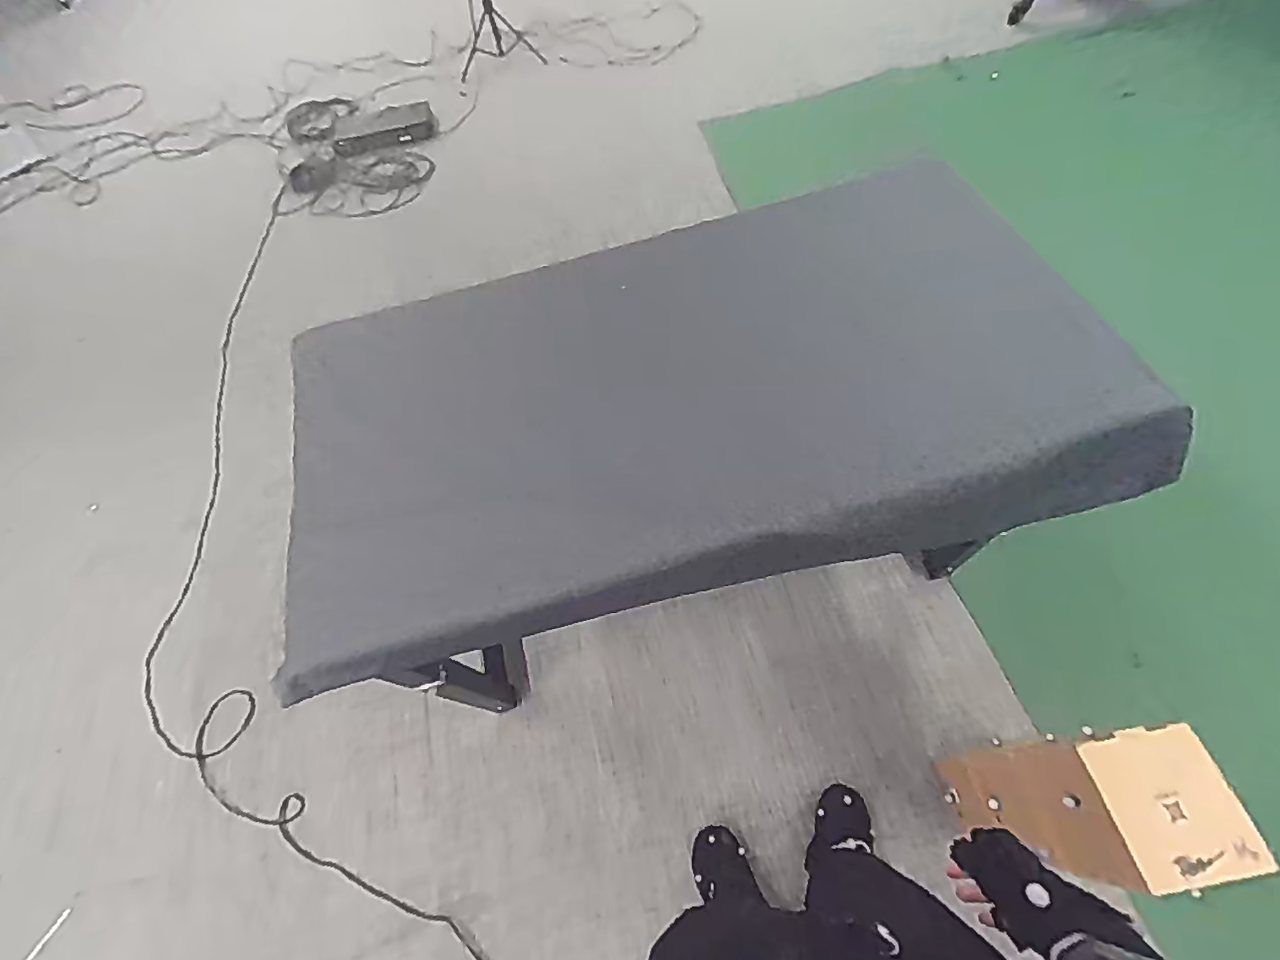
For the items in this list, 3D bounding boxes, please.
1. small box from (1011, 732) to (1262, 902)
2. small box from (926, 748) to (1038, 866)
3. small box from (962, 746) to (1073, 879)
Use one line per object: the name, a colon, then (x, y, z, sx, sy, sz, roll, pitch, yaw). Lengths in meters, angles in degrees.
small box: (0.691, 0.482, 0.784, 0.168, 0.176, 0.179, -10, 59, 0)
small box: (0.710, 0.640, 1.071, 0.179, 0.176, 0.168, -13, 60, 0)
small box: (0.700, 0.560, 0.927, 0.179, 0.176, 0.168, -11, 60, 0)
